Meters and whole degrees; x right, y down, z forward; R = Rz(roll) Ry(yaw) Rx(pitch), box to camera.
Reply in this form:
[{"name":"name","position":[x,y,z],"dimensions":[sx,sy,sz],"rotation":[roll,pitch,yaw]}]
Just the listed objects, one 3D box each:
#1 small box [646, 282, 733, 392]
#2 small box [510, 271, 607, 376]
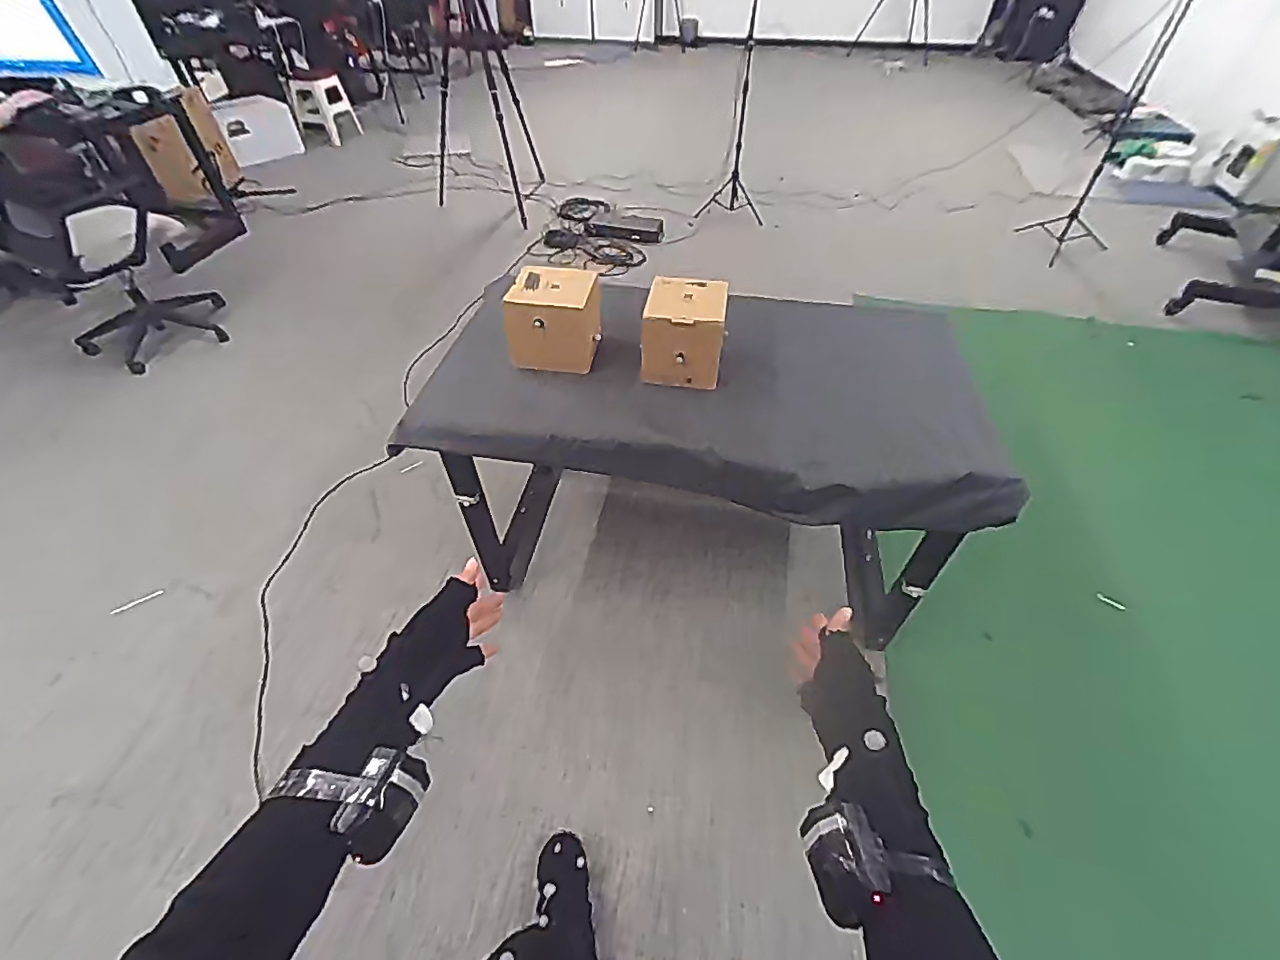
[{"name":"small box","position":[0.110,-0.314,1.195],"dimensions":[0.168,0.176,0.179],"rotation":[8,48,7]},{"name":"small box","position":[-0.178,-0.355,1.232],"dimensions":[0.179,0.176,0.168],"rotation":[7,47,5]}]
